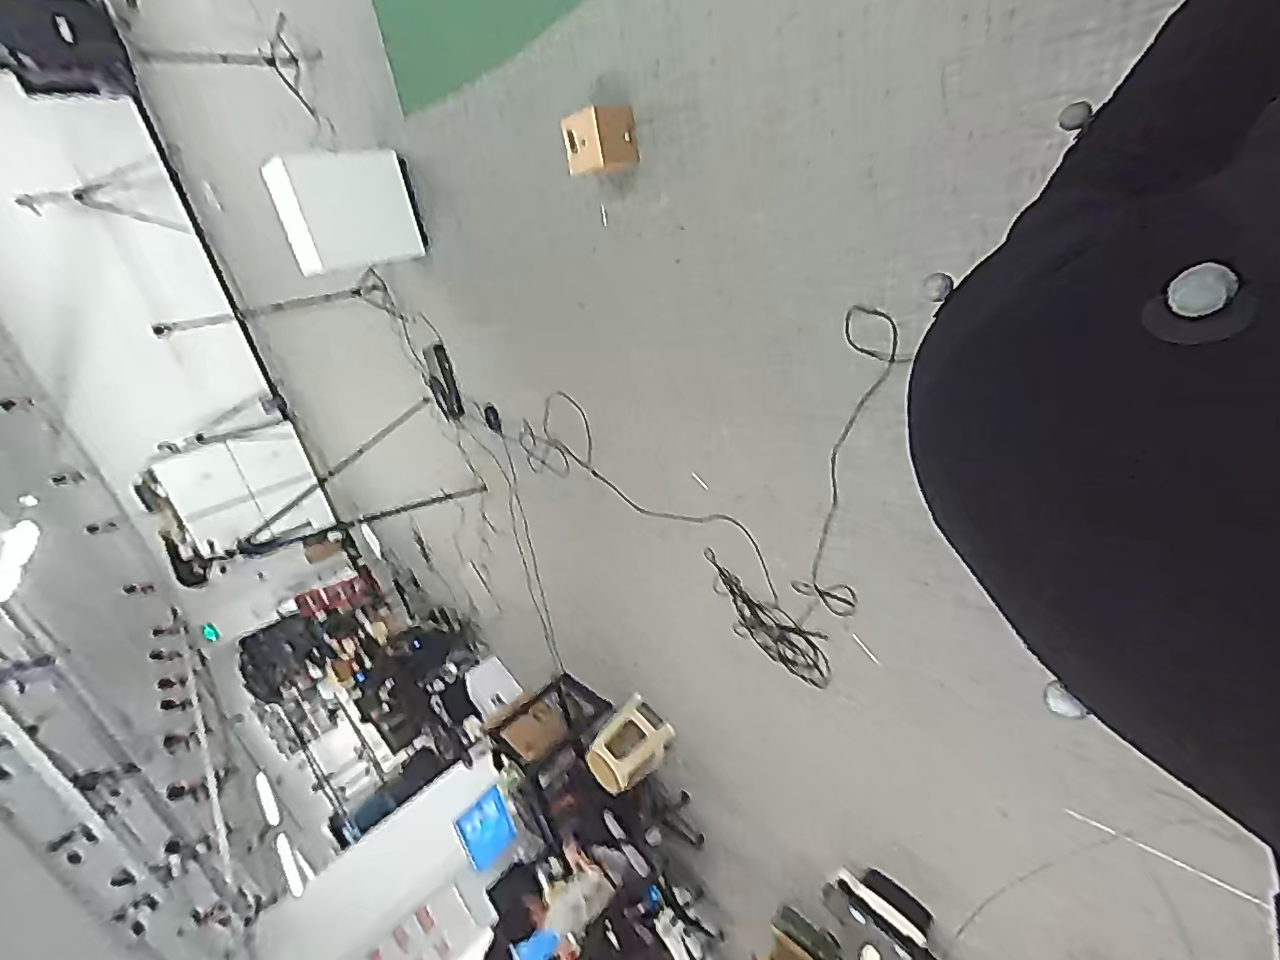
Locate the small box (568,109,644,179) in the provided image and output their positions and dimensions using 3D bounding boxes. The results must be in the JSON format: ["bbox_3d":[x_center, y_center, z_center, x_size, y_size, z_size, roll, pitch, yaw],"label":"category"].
[{"bbox_3d":[-0.110,-1.115,1.805,0.179,0.176,0.168,14,123,44],"label":"small box"}]
